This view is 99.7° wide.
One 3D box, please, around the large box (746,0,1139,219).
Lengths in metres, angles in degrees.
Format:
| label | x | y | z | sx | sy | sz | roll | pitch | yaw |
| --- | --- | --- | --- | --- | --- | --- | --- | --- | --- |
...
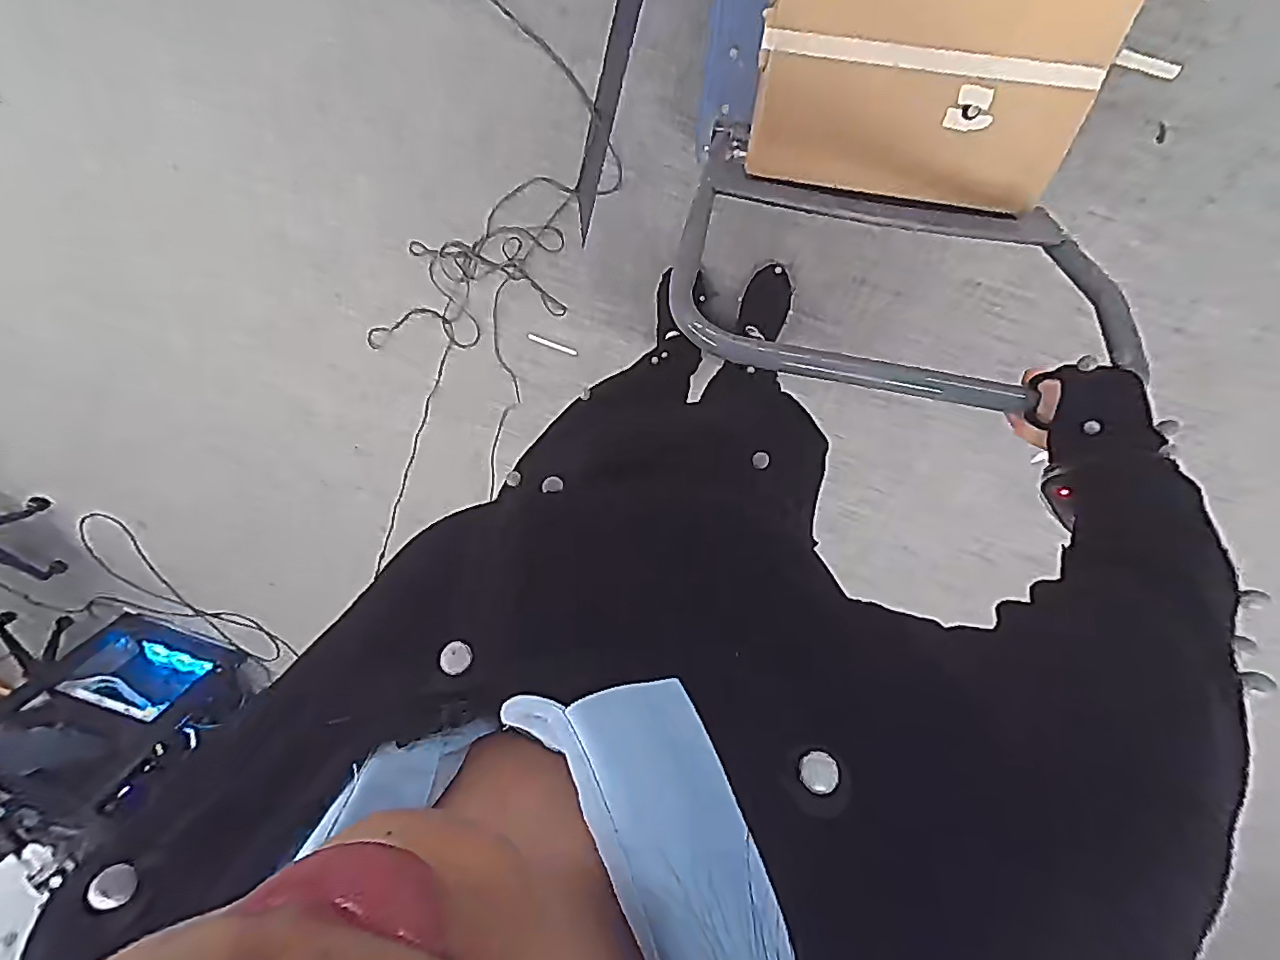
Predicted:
| label | x | y | z | sx | sy | sz | roll | pitch | yaw |
| --- | --- | --- | --- | --- | --- | --- | --- | --- | --- |
| large box | 0.381 | -0.607 | 0.785 | 0.408 | 0.320 | 0.320 | 10 | 132 | 3 |
